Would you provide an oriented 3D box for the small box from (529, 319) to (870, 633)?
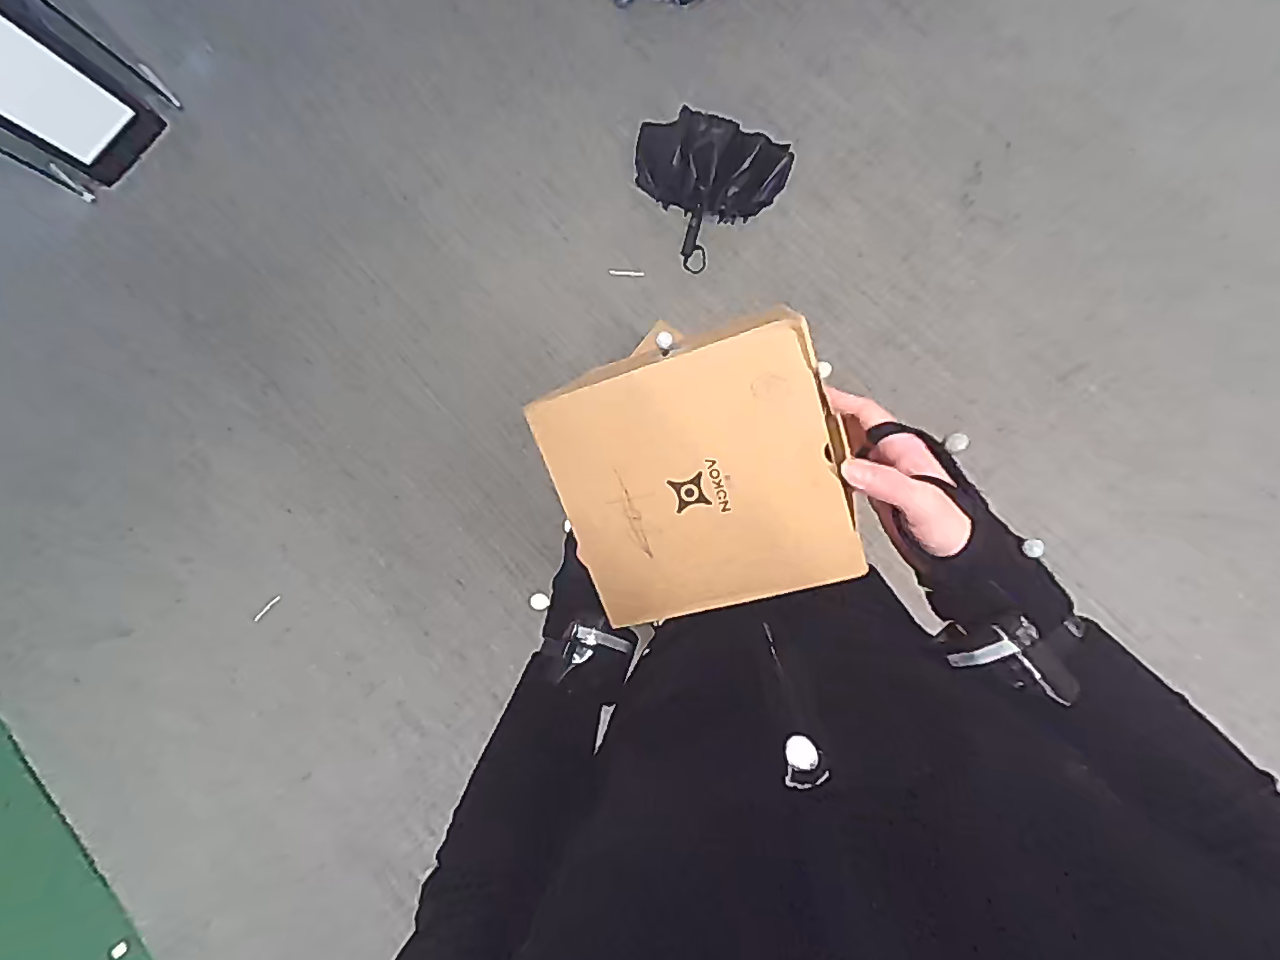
[{"bbox_3d":[0.048,-0.016,0.410,0.179,0.176,0.168,-18,103,15],"label":"small box"}]
